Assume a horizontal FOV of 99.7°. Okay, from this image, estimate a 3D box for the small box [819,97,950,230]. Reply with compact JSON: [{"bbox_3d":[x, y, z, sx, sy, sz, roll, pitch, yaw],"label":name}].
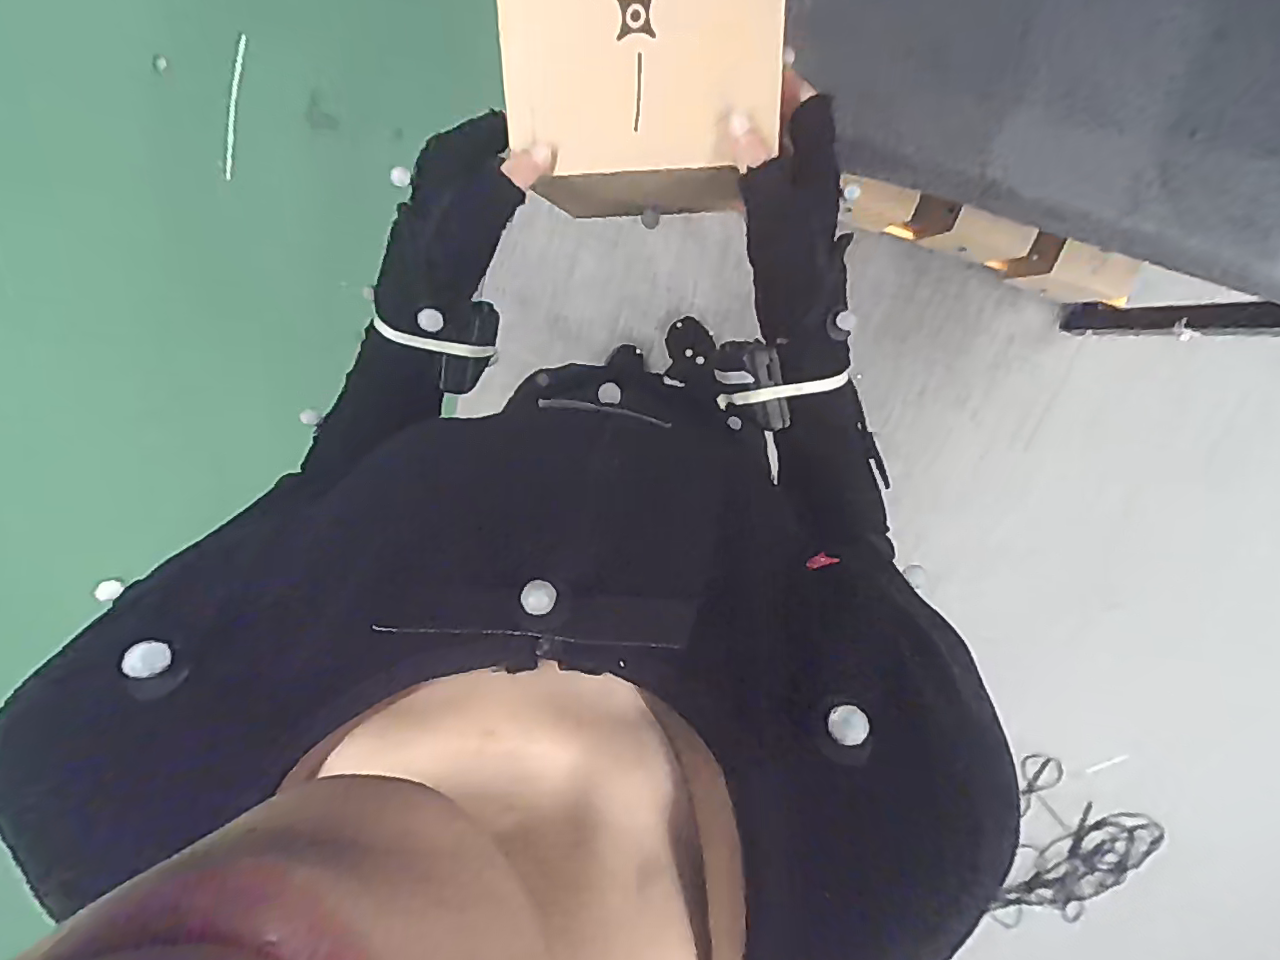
[{"bbox_3d":[0.490,-0.638,1.119,0.168,0.176,0.179,17,106,-4],"label":"small box"}]
